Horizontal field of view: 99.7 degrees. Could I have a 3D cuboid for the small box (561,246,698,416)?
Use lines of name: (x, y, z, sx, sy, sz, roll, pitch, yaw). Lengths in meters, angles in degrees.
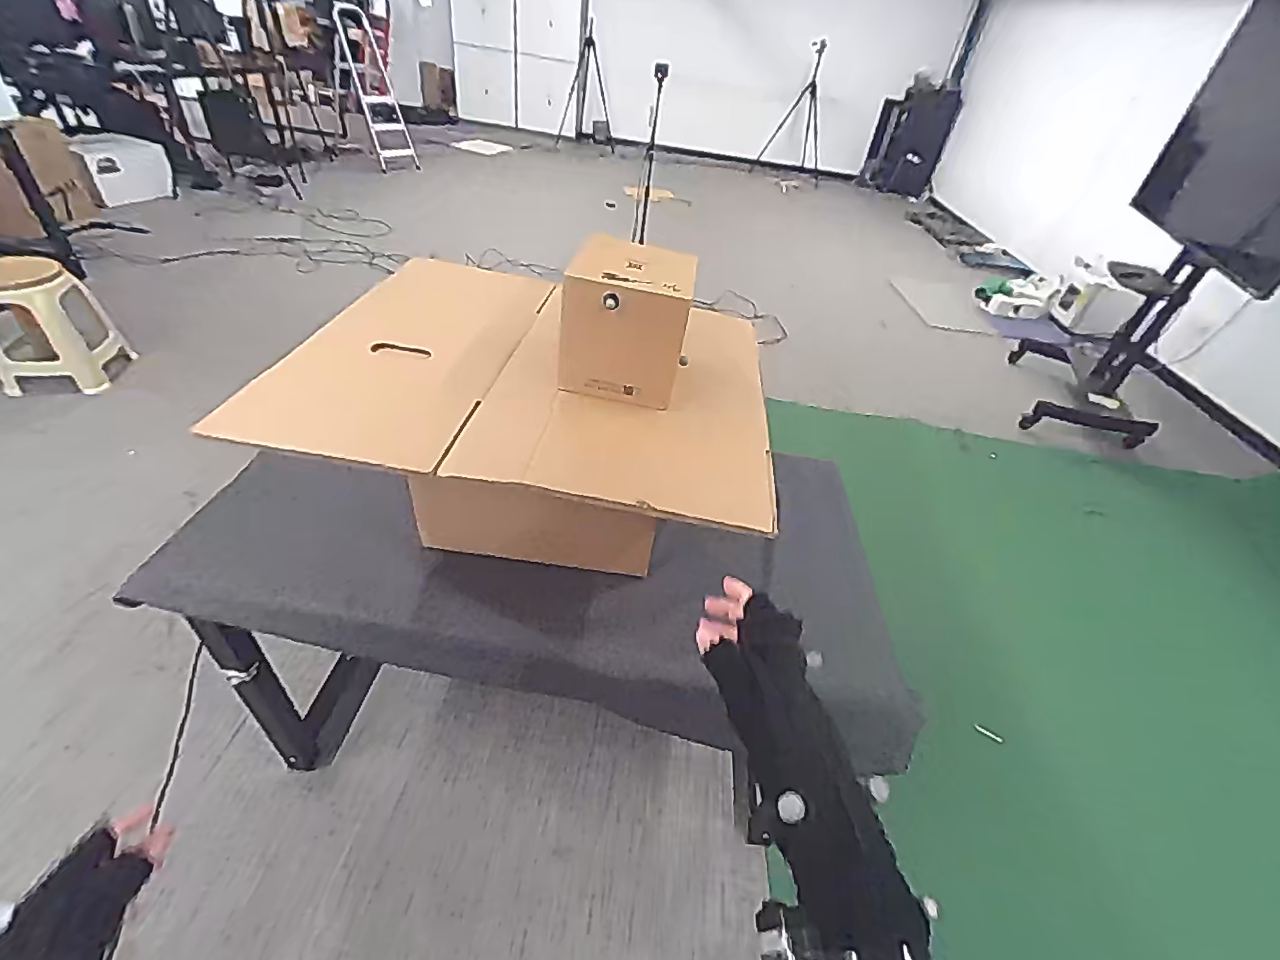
small box: (-0.016, -0.220, 0.794, 0.168, 0.176, 0.179, 11, 39, 1)
